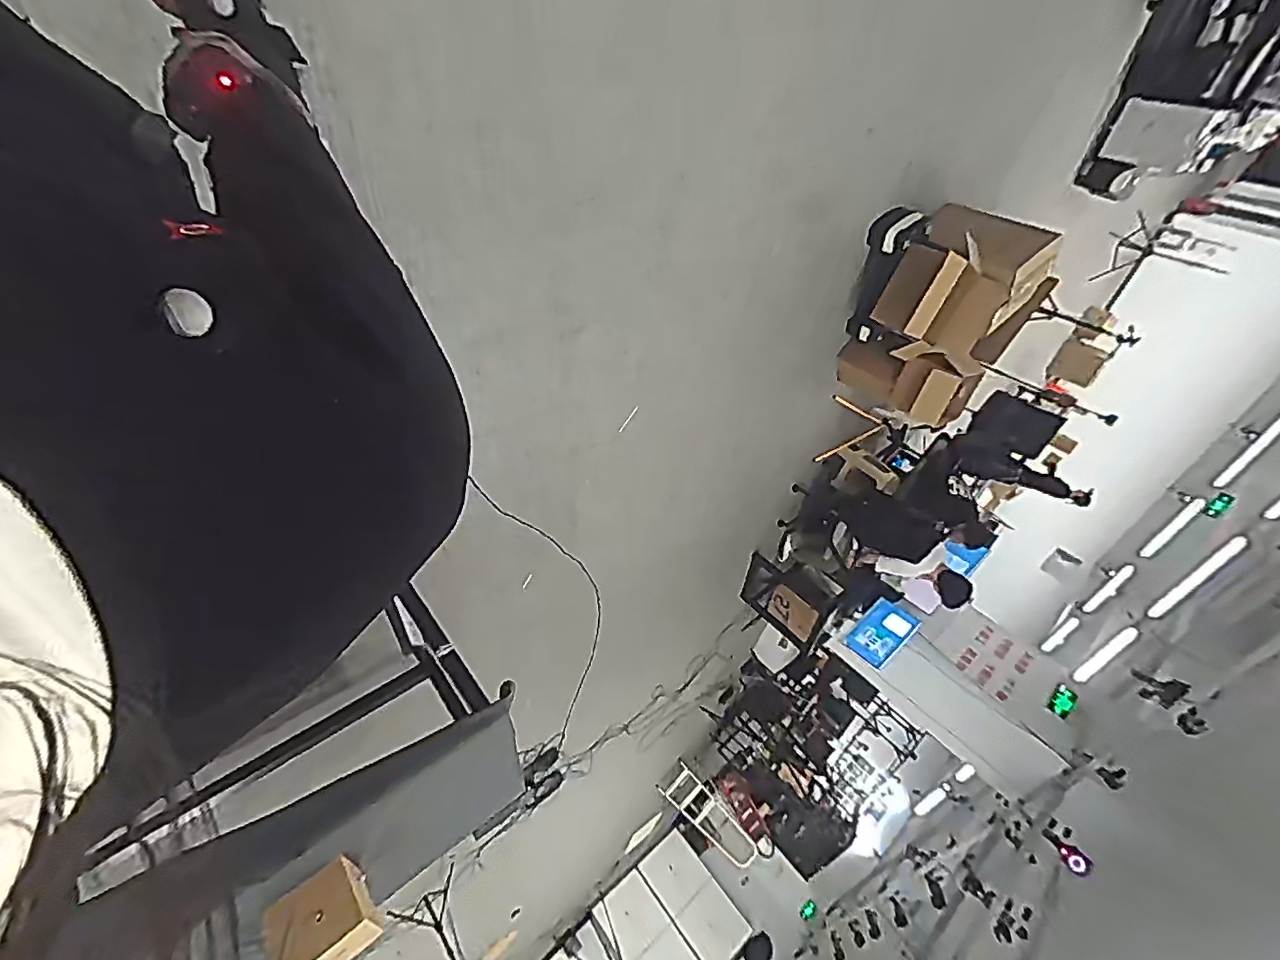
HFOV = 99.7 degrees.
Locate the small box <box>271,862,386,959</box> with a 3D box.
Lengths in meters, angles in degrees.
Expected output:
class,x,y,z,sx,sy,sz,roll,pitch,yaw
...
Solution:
class,x,y,z,sx,sy,sz,roll,pitch,yaw
small box,-0.745,1.065,1.287,0.179,0.176,0.168,-30,142,-28
